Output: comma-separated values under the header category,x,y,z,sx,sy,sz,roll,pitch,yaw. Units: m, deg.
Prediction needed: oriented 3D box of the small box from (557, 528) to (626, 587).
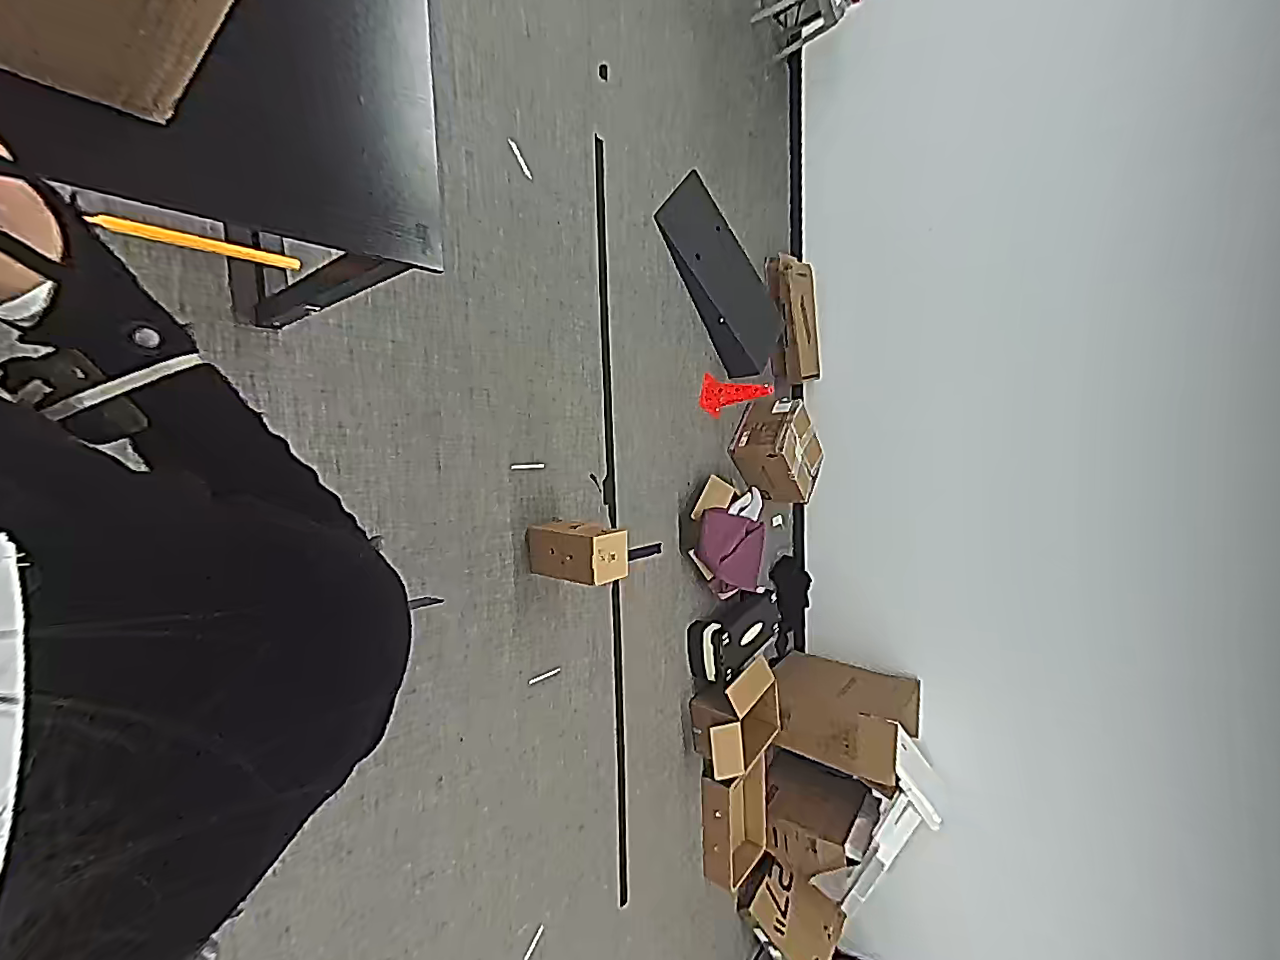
category,x,y,z,sx,sy,sz,roll,pitch,yaw
small box,-0.167,0.263,1.879,0.179,0.176,0.168,-6,96,-51

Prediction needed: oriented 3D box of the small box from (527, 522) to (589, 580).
category,x,y,z,sx,sy,sz,roll,pitch,yaw
small box,-0.297,0.254,1.981,0.168,0.176,0.179,-12,101,-50
